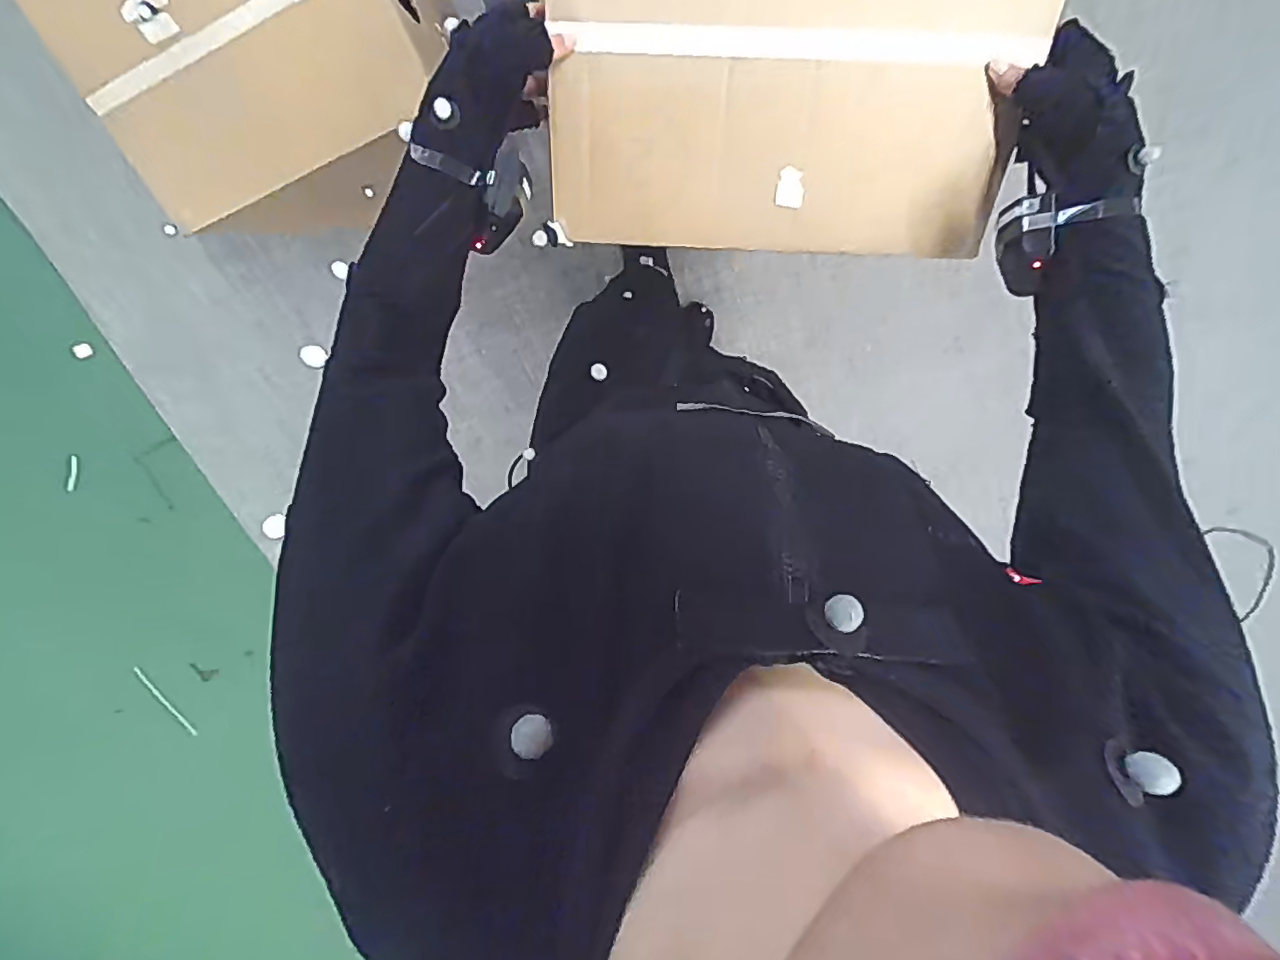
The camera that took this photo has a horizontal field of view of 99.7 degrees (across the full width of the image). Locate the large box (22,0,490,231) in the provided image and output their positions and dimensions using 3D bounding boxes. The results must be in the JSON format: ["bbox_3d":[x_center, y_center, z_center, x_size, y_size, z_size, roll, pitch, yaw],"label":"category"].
[{"bbox_3d":[-0.493,-0.597,0.775,0.408,0.320,0.320,-20,113,8],"label":"large box"}]
